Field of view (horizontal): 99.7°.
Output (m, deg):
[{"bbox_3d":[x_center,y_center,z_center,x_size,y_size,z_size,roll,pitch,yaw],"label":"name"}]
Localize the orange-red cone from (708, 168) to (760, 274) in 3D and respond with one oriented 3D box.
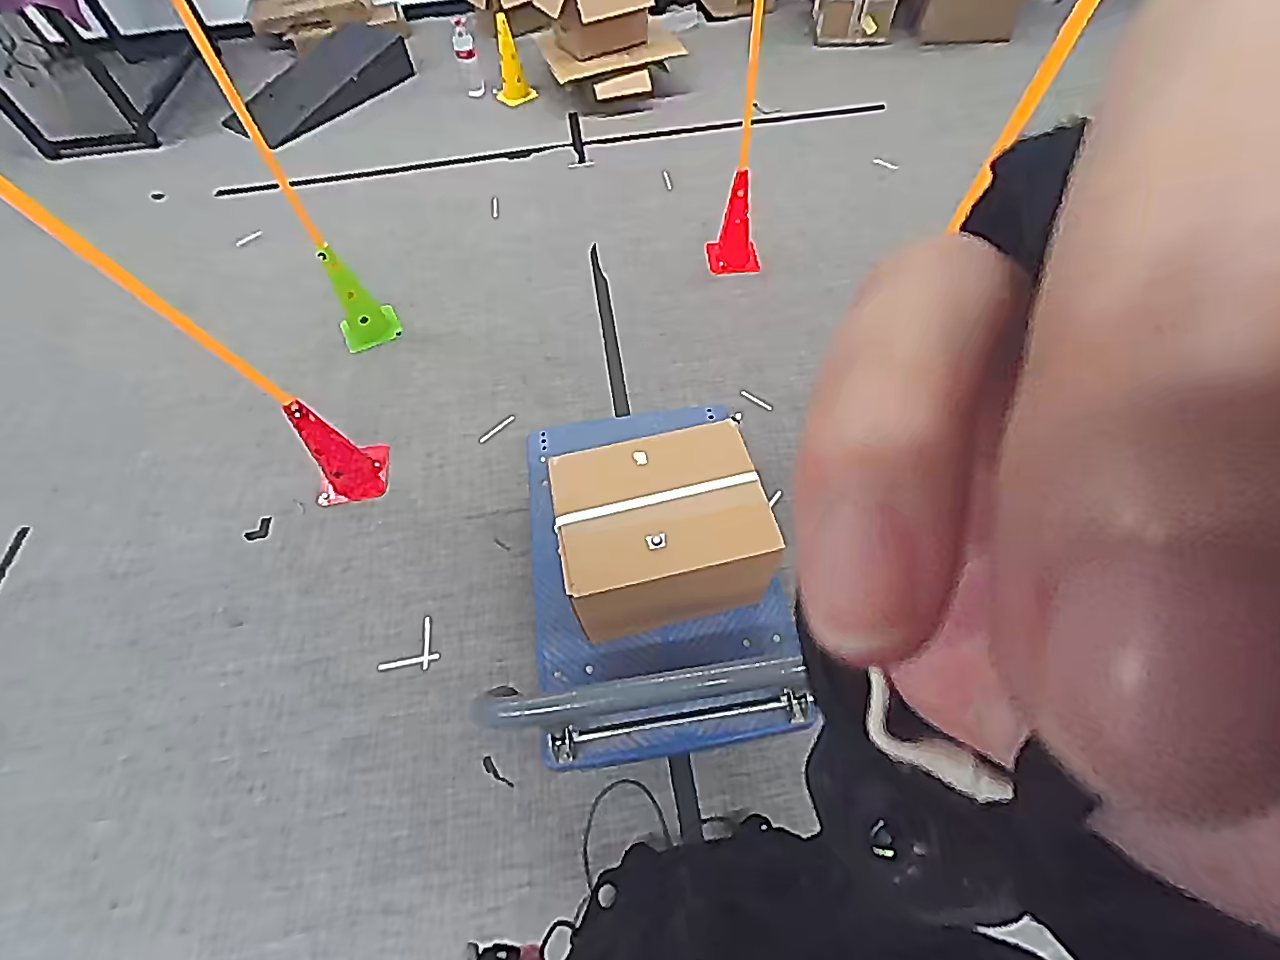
[{"bbox_3d":[0.373,-0.990,2.041,0.199,0.360,0.198,-3,59,0],"label":"orange-red cone"}]
